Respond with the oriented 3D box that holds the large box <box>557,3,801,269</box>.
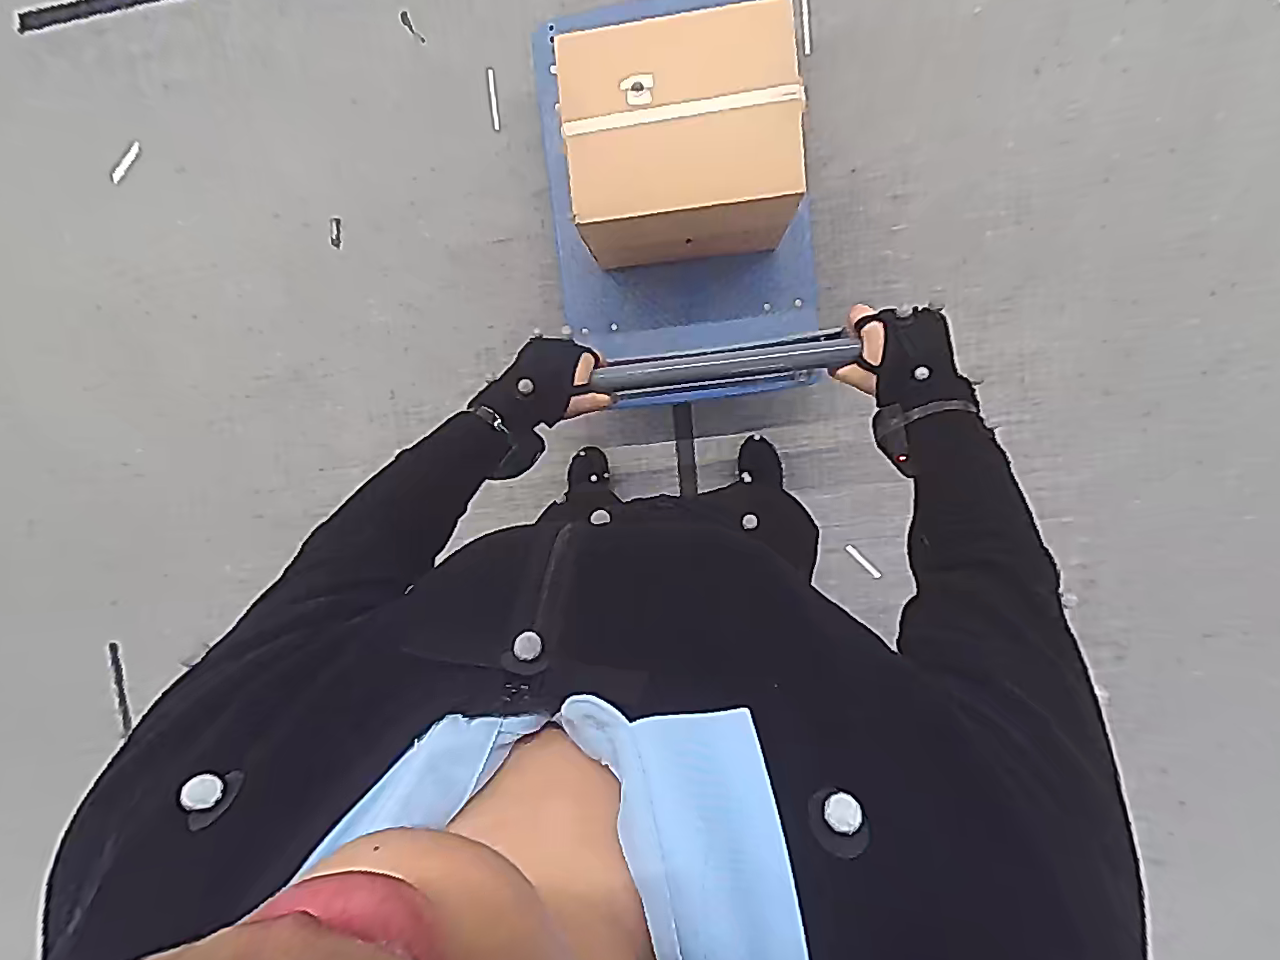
[{"bbox_3d":[0.083,-0.646,1.090,0.408,0.320,0.320,-6,95,7],"label":"large box"}]
